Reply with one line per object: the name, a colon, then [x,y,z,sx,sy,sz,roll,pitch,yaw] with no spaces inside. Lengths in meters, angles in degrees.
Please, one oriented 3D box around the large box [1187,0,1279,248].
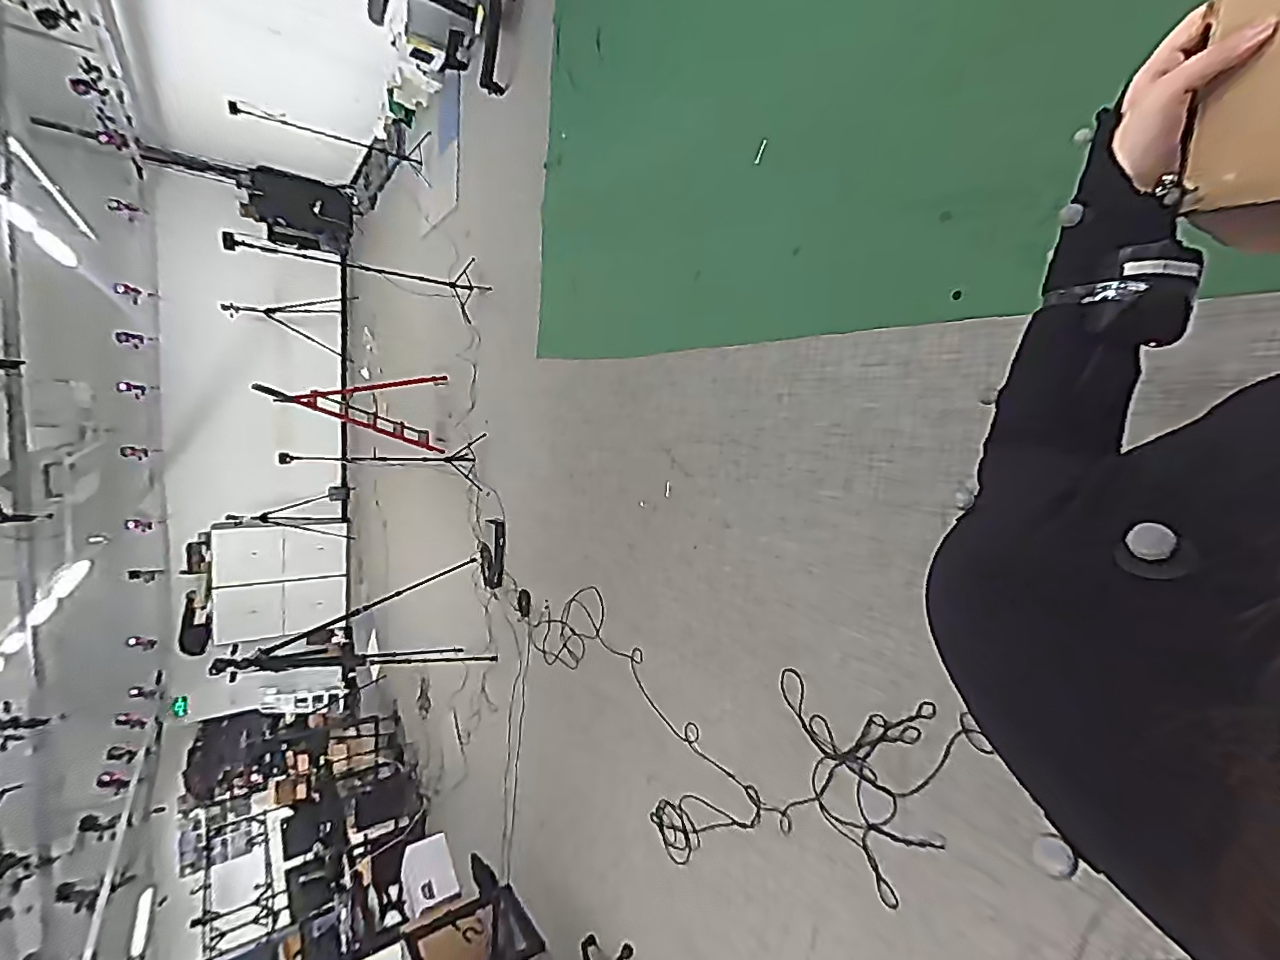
large box: [0.637,-0.331,0.290,0.408,0.320,0.320,17,111,54]
